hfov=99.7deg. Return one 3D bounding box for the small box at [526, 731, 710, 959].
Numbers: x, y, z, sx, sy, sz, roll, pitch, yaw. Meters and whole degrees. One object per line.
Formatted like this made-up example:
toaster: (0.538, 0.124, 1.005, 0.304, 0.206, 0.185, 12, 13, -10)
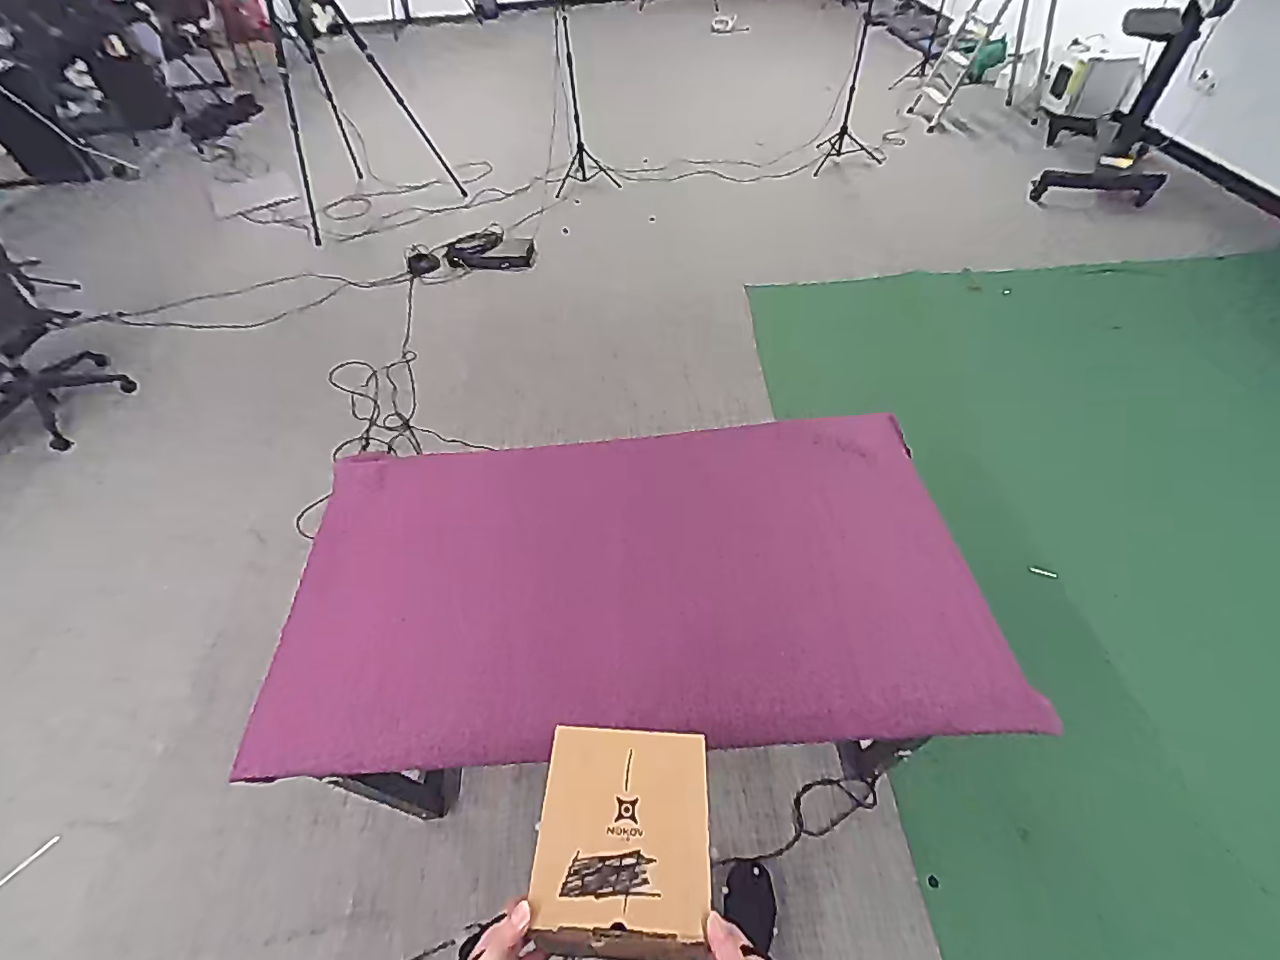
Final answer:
small box: (-0.017, 0.398, 0.582, 0.168, 0.176, 0.179, 4, 42, 0)
